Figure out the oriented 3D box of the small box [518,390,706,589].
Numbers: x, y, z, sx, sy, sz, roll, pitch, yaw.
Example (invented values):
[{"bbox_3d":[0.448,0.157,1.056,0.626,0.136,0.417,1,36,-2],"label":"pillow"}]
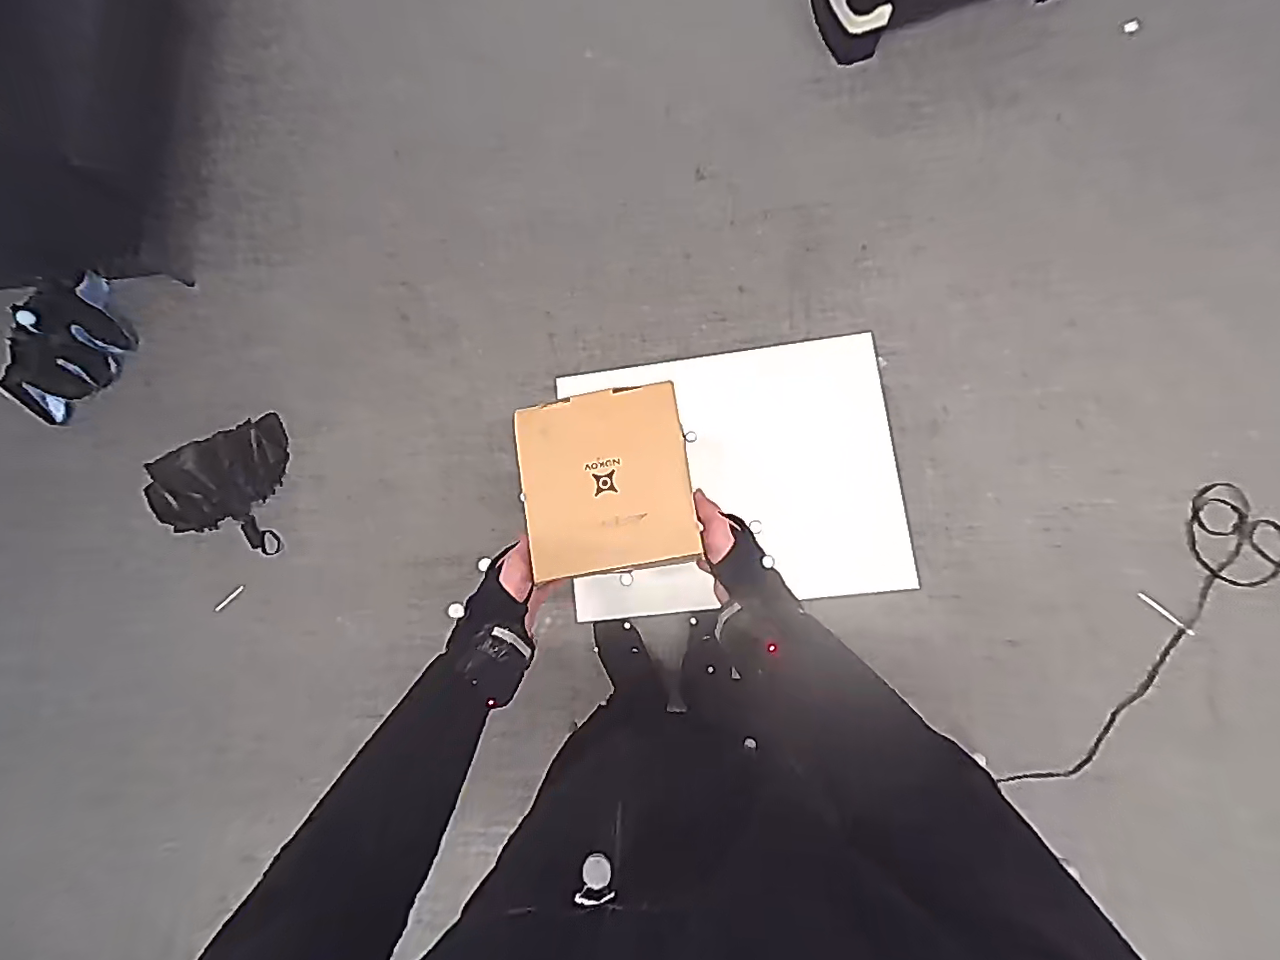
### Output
[{"bbox_3d":[-0.023,0.021,0.604,0.168,0.176,0.179,-11,80,6],"label":"small box"}]
